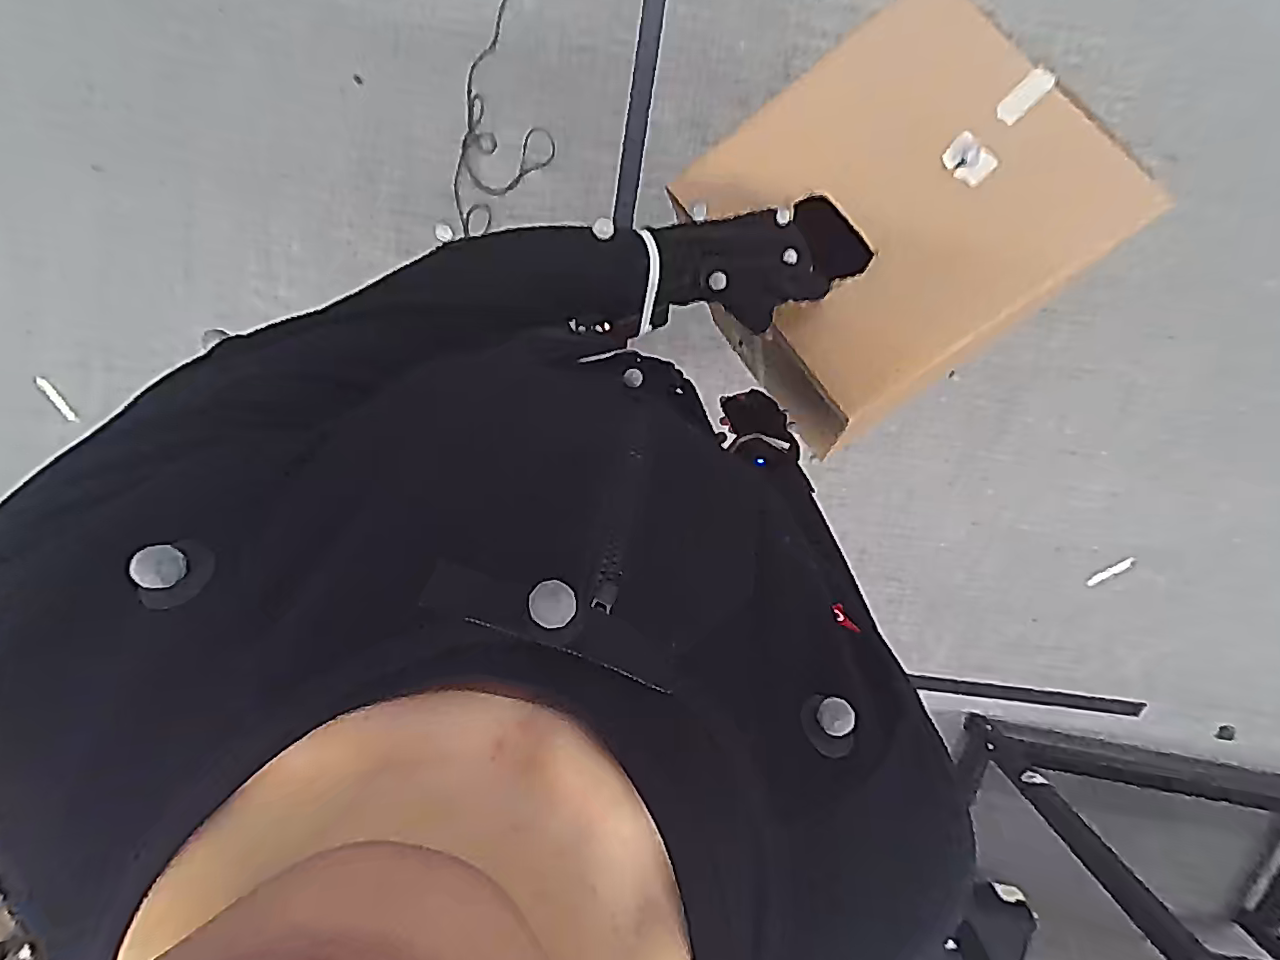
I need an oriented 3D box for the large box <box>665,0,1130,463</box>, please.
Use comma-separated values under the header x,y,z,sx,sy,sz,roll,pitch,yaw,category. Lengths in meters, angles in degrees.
x,y,z,sx,sy,sz,roll,pitch,yaw,category
0.280,-0.251,0.702,0.320,0.408,0.320,-34,78,11,large box
